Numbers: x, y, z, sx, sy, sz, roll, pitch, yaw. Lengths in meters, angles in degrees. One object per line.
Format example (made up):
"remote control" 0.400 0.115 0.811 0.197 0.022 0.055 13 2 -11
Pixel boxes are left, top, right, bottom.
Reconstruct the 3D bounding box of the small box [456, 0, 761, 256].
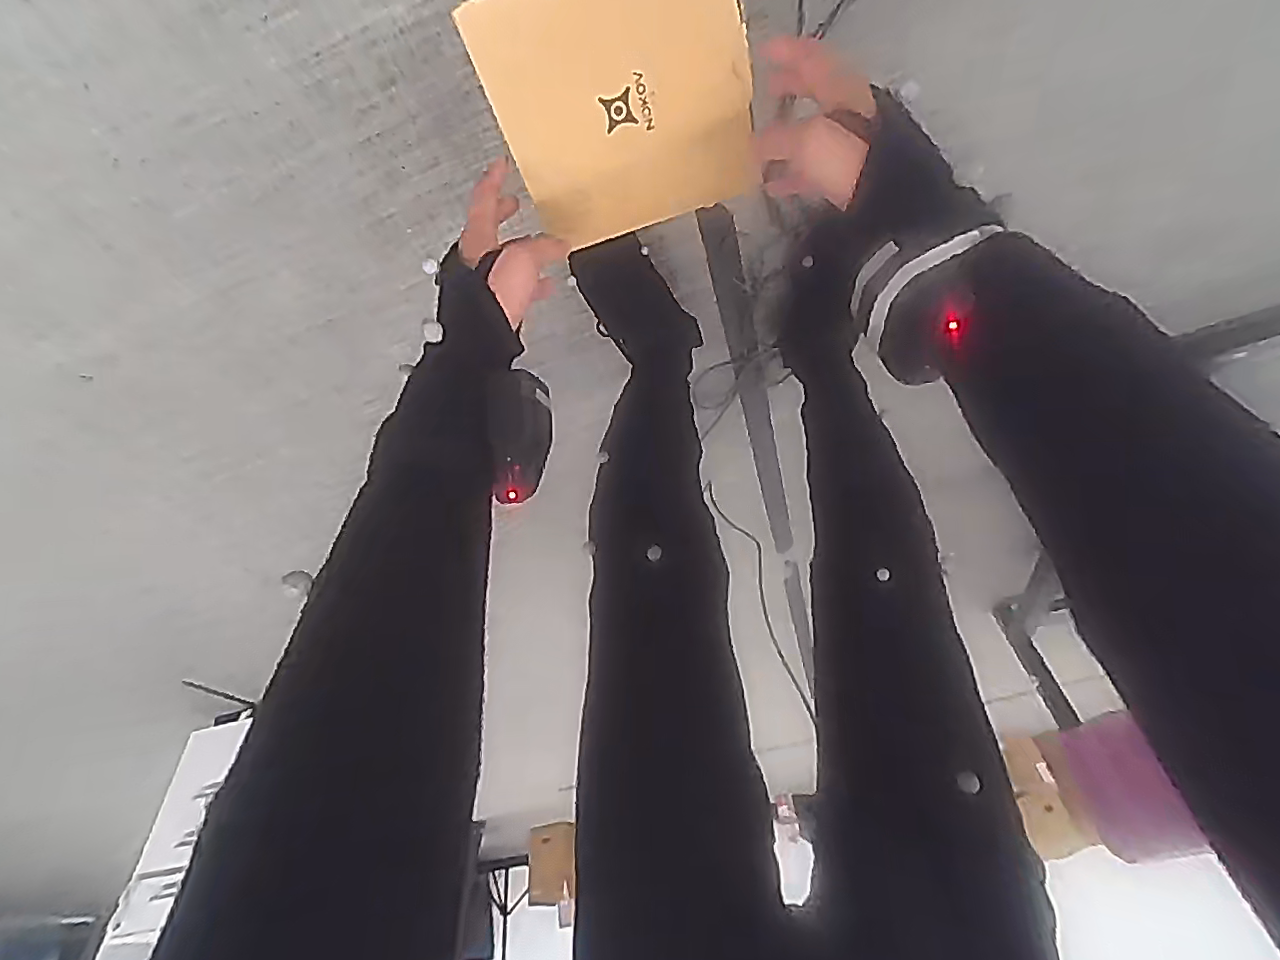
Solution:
"small box" -0.016 -0.314 0.427 0.179 0.176 0.168 -15 139 9
